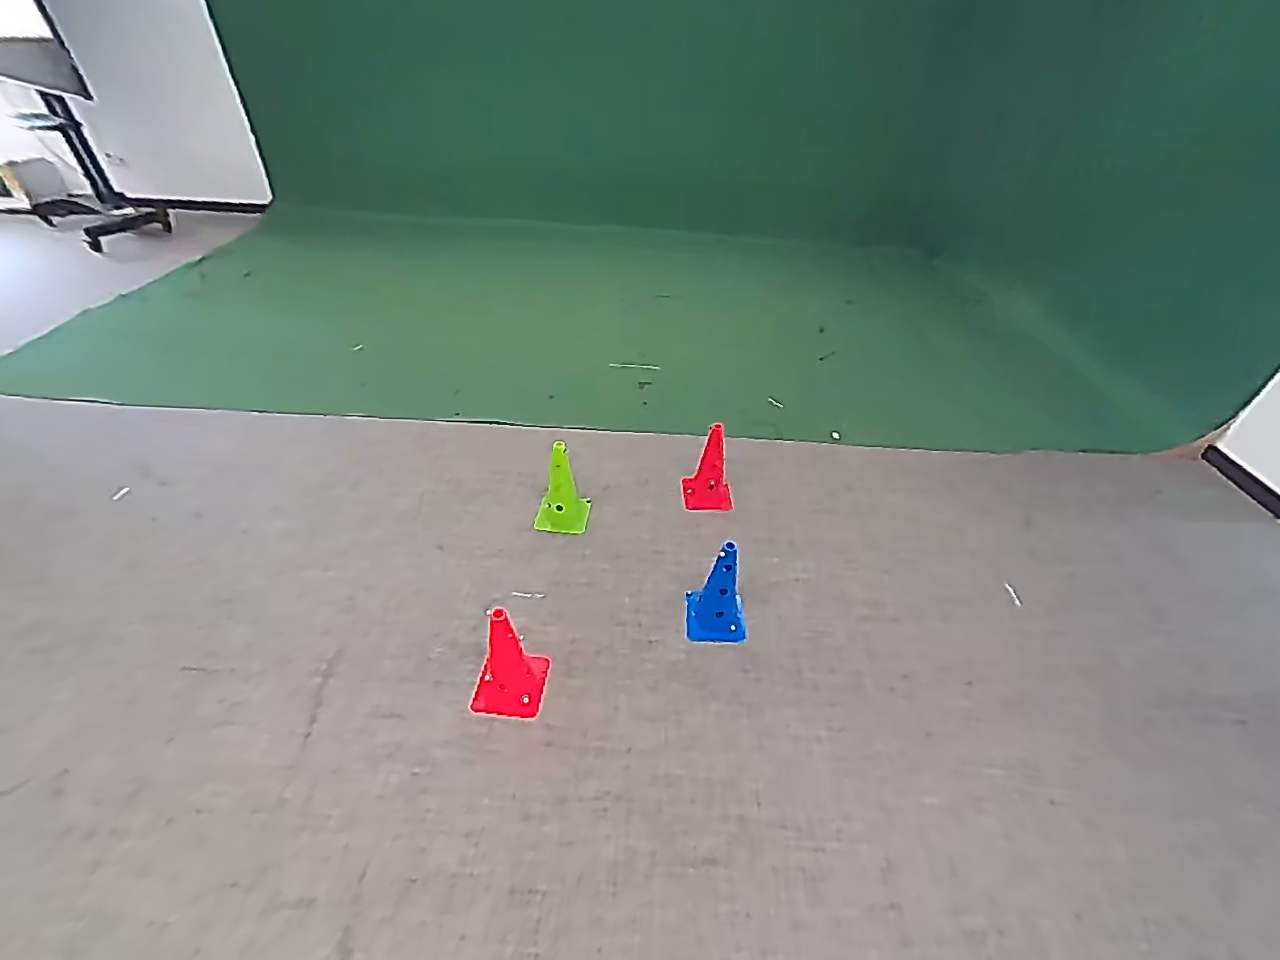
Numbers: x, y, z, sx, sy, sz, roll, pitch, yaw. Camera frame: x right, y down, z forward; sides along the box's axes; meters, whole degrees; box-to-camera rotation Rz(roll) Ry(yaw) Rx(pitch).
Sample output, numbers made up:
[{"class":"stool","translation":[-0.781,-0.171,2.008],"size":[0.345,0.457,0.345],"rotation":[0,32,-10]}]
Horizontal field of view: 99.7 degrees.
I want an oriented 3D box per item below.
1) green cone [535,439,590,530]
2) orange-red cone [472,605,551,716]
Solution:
[{"class":"green cone","translation":[-0.303,-0.005,2.061],"size":[0.200,0.368,0.202],"rotation":[4,42,2]},{"class":"orange-red cone","translation":[-0.370,0.470,1.509],"size":[0.198,0.360,0.199],"rotation":[7,39,3]}]
